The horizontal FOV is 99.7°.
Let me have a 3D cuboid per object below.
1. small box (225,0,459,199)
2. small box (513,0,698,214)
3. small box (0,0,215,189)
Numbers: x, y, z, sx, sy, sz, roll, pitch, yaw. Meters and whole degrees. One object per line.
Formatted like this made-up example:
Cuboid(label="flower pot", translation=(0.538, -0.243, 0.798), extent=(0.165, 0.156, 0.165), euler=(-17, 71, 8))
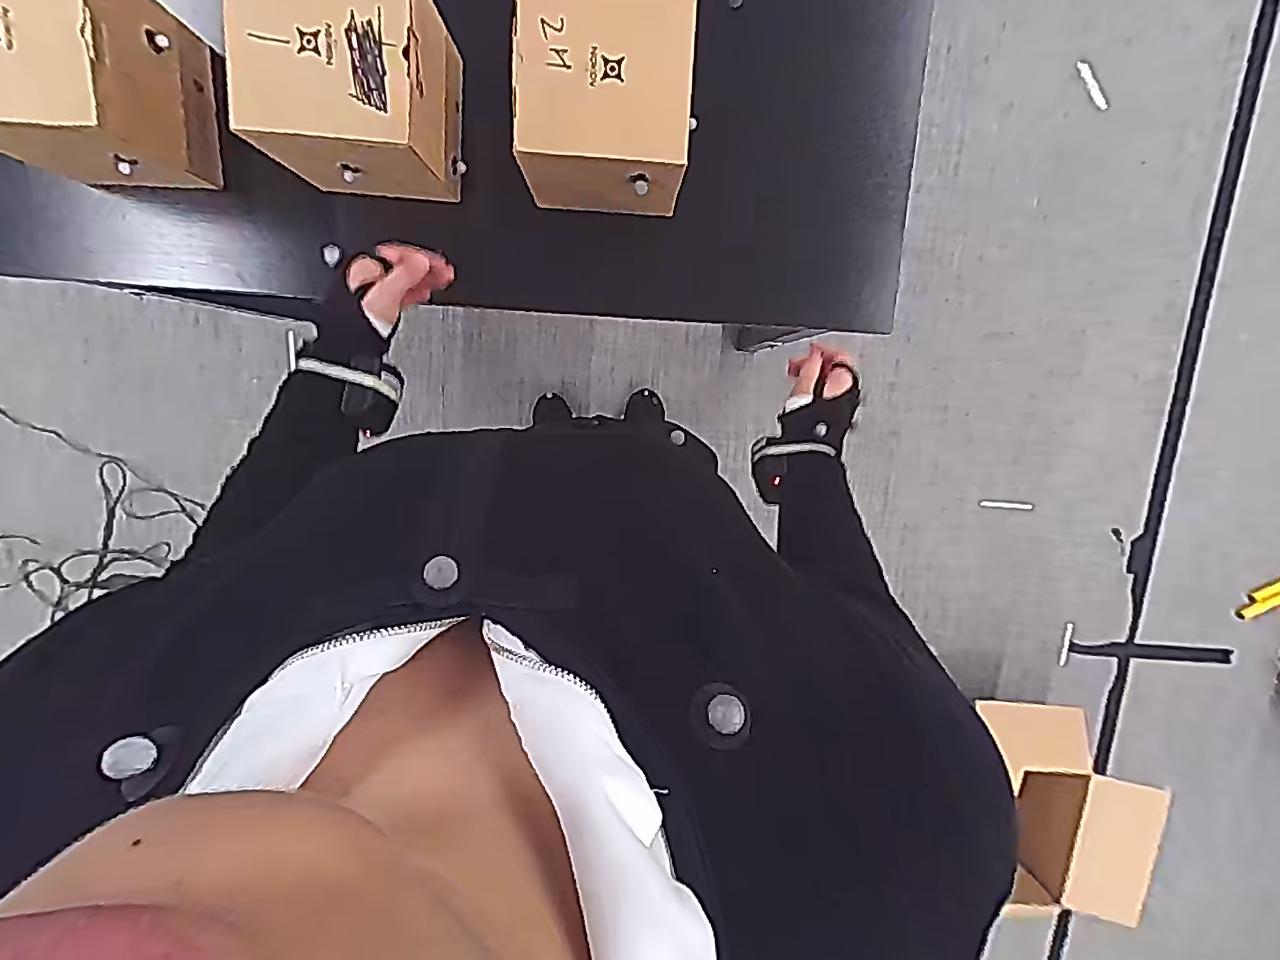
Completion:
Cuboid(label="small box", translation=(-0.308, -0.427, 0.595), extent=(0.179, 0.176, 0.168), euler=(4, 99, -2))
Cuboid(label="small box", translation=(-0.038, -0.413, 0.607), extent=(0.179, 0.176, 0.168), euler=(3, 99, -2))
Cuboid(label="small box", translation=(-0.602, -0.433, 0.585), extent=(0.179, 0.176, 0.168), euler=(1, 99, -2))
